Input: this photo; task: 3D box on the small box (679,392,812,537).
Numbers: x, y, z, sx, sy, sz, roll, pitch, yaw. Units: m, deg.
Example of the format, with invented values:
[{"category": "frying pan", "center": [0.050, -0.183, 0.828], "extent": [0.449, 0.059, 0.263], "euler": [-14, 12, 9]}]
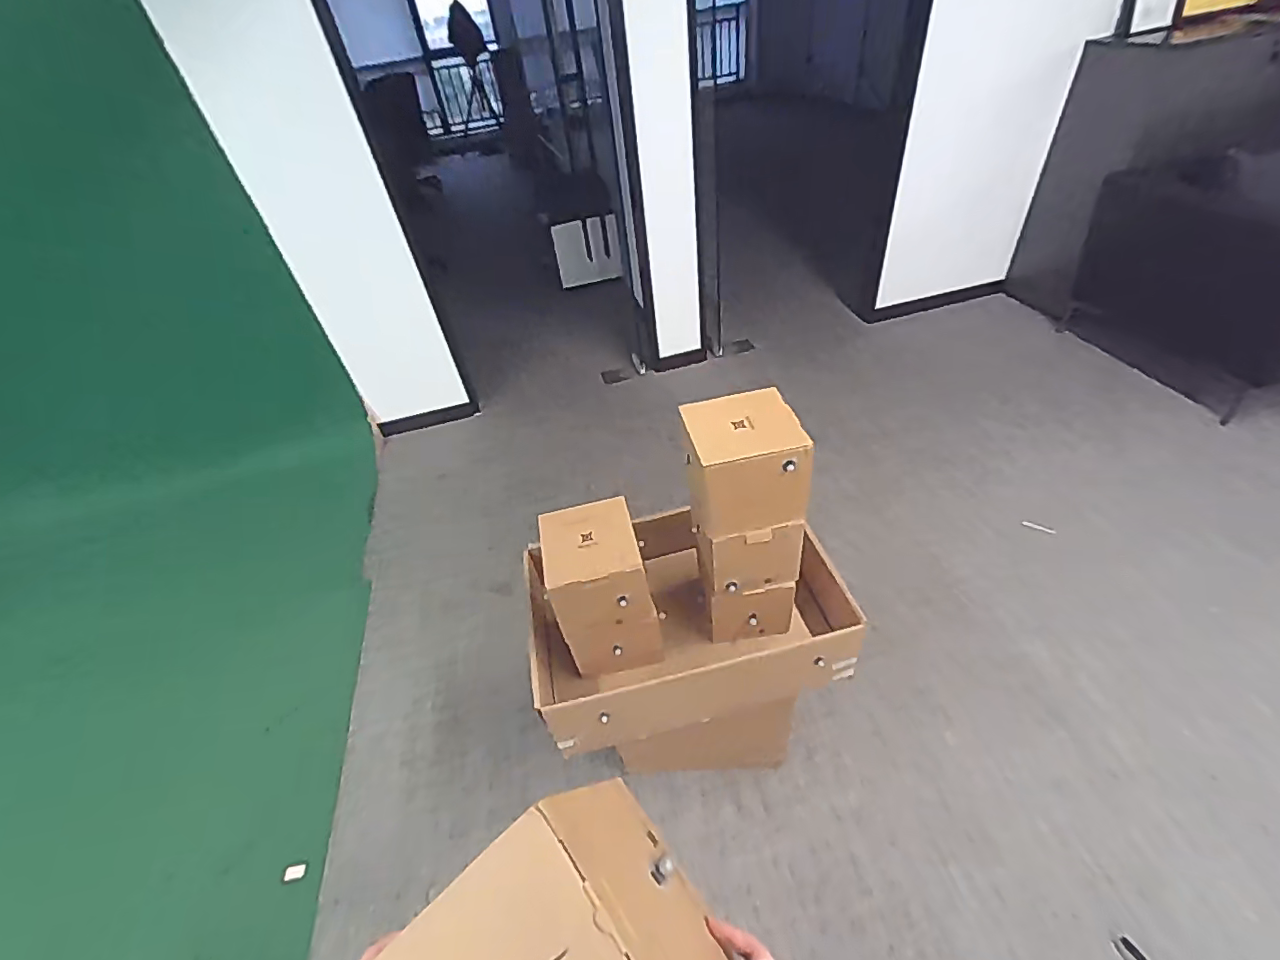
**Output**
[{"category": "small box", "center": [0.172, -0.023, 0.921], "extent": [0.179, 0.176, 0.168], "euler": [-11, 43, -4]}]

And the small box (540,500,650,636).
[{"category": "small box", "center": [-0.082, 0.168, 0.996], "extent": [0.168, 0.176, 0.179], "euler": [-12, 42, -5]}]

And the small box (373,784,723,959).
[{"category": "small box", "center": [-0.059, 0.369, 0.416], "extent": [0.179, 0.176, 0.168], "euler": [-43, 61, -2]}]

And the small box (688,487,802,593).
[{"category": "small box", "center": [0.194, 0.096, 1.029], "extent": [0.168, 0.176, 0.179], "euler": [-11, 42, -3]}]
